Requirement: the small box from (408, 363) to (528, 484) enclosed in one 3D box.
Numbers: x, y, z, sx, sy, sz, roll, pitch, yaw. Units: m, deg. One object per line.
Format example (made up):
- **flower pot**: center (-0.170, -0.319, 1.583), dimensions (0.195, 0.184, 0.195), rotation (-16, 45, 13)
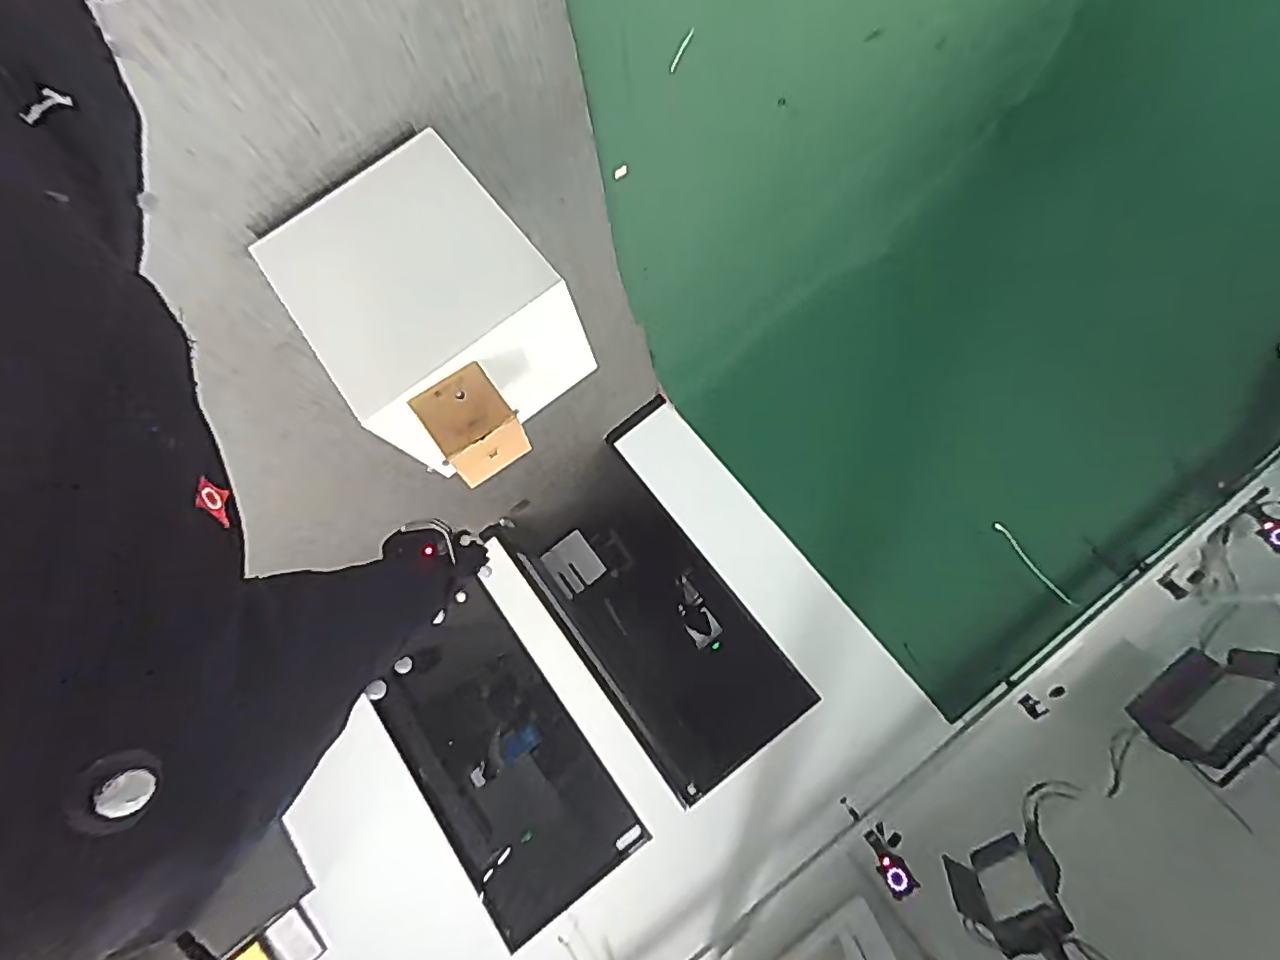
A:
- **small box**: center (-0.373, -0.123, 1.189), dimensions (0.168, 0.176, 0.179), rotation (-35, 165, -12)
